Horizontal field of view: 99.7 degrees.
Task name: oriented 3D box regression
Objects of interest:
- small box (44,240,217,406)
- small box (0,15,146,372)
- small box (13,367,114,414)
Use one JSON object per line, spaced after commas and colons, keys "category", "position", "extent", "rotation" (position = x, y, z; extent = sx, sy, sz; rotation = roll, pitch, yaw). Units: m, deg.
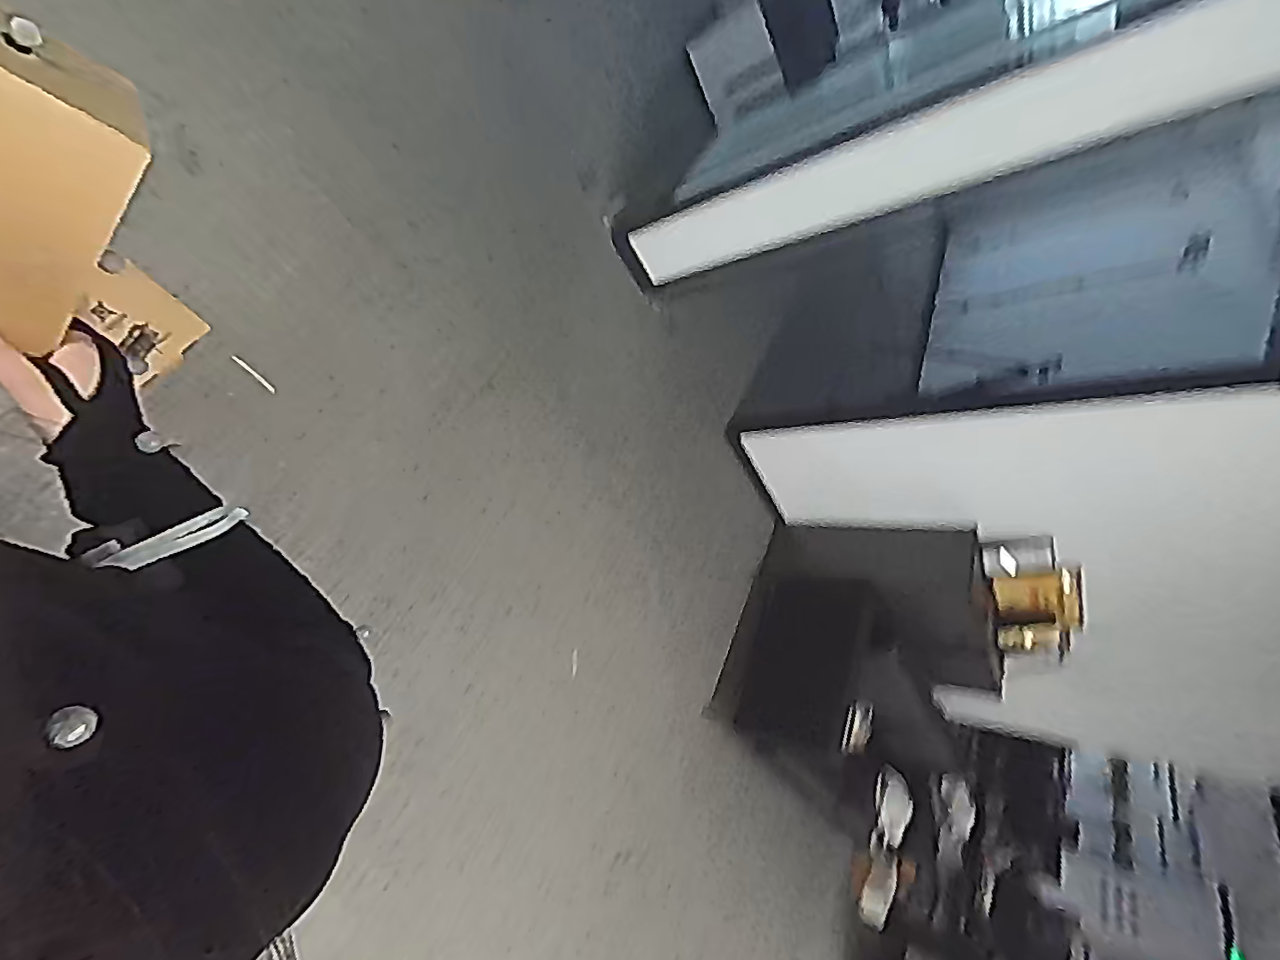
{"category": "small box", "position": [-0.803, -0.226, 0.815], "extent": [0.179, 0.176, 0.168], "rotation": [51, 53, -35]}
{"category": "small box", "position": [-0.447, -0.205, 0.327], "extent": [0.179, 0.176, 0.168], "rotation": [-48, 148, 14]}
{"category": "small box", "position": [-0.930, -0.231, 0.919], "extent": [0.168, 0.176, 0.179], "rotation": [49, 55, -37]}
